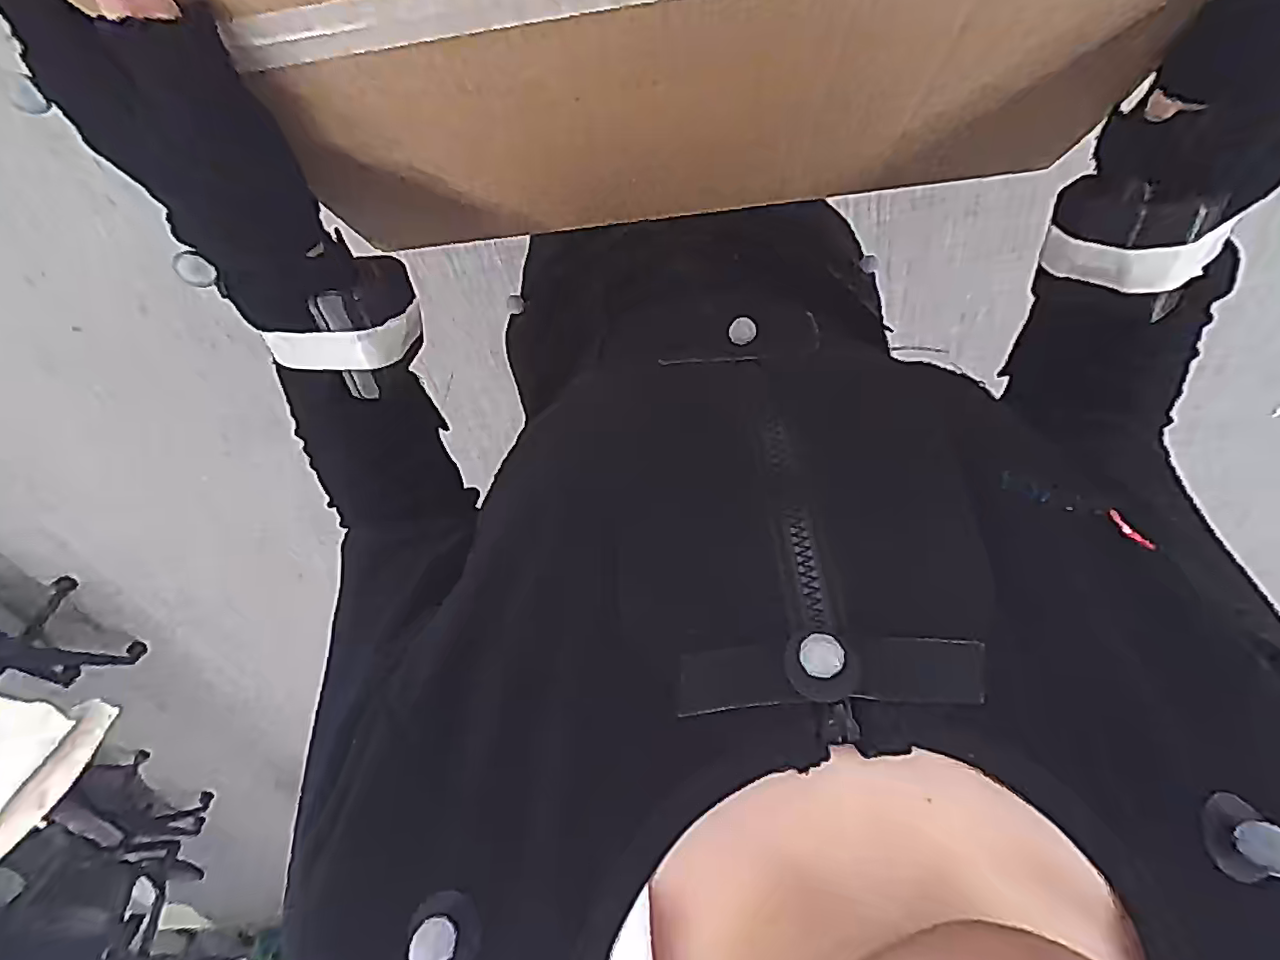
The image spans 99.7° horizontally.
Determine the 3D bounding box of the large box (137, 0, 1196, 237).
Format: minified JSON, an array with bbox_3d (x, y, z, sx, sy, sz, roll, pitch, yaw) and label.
[{"bbox_3d":[0.008,-0.331,0.190,0.408,0.320,0.320,-5,87,5],"label":"large box"}]
